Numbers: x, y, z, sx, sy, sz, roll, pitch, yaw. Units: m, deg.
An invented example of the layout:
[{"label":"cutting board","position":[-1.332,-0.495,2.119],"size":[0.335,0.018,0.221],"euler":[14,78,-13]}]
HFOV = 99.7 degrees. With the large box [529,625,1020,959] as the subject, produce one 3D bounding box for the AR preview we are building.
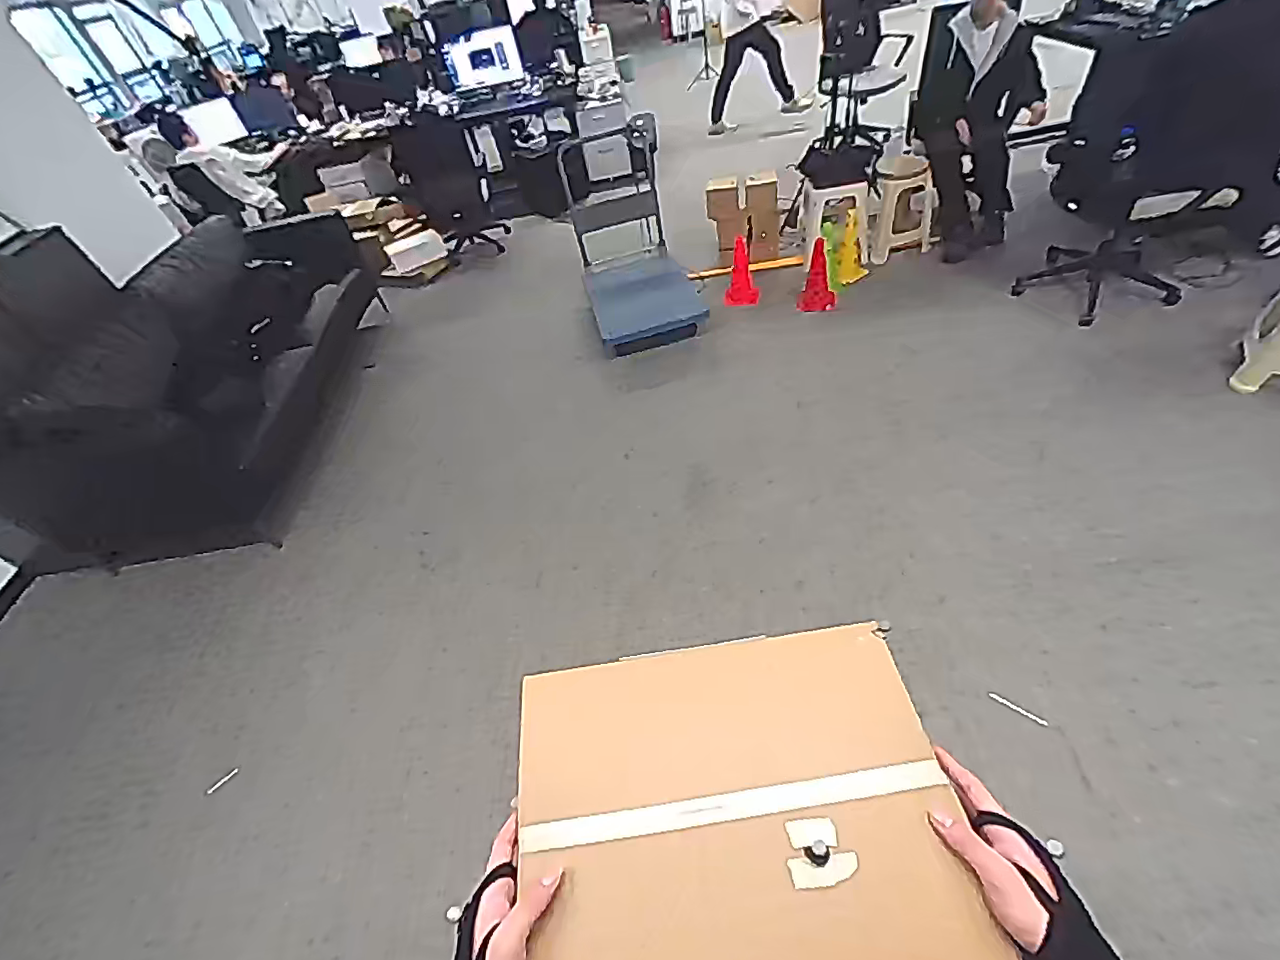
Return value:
[{"label":"large box","position":[0.102,0.410,0.630],"size":[0.408,0.320,0.320],"euler":[-9,48,-1]}]
